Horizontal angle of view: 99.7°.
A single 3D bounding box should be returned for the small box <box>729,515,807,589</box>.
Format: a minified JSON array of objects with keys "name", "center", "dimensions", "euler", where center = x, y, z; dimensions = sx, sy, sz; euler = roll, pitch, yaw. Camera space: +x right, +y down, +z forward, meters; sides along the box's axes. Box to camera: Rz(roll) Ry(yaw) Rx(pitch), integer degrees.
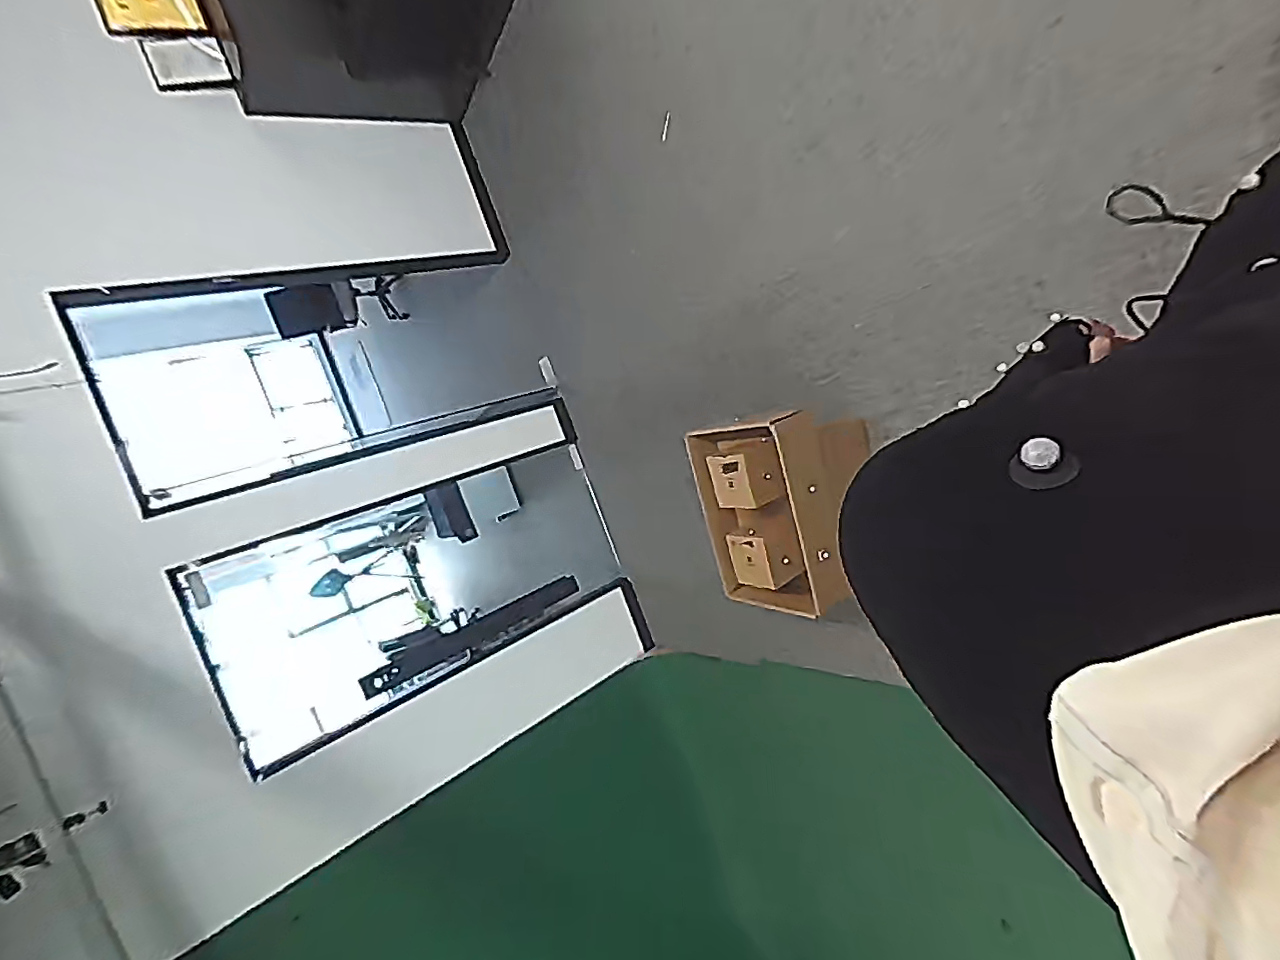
[{"name":"small box","center":[0.422,0.231,1.769],"dimensions":[0.168,0.176,0.179],"euler":[-1,108,56]}]
